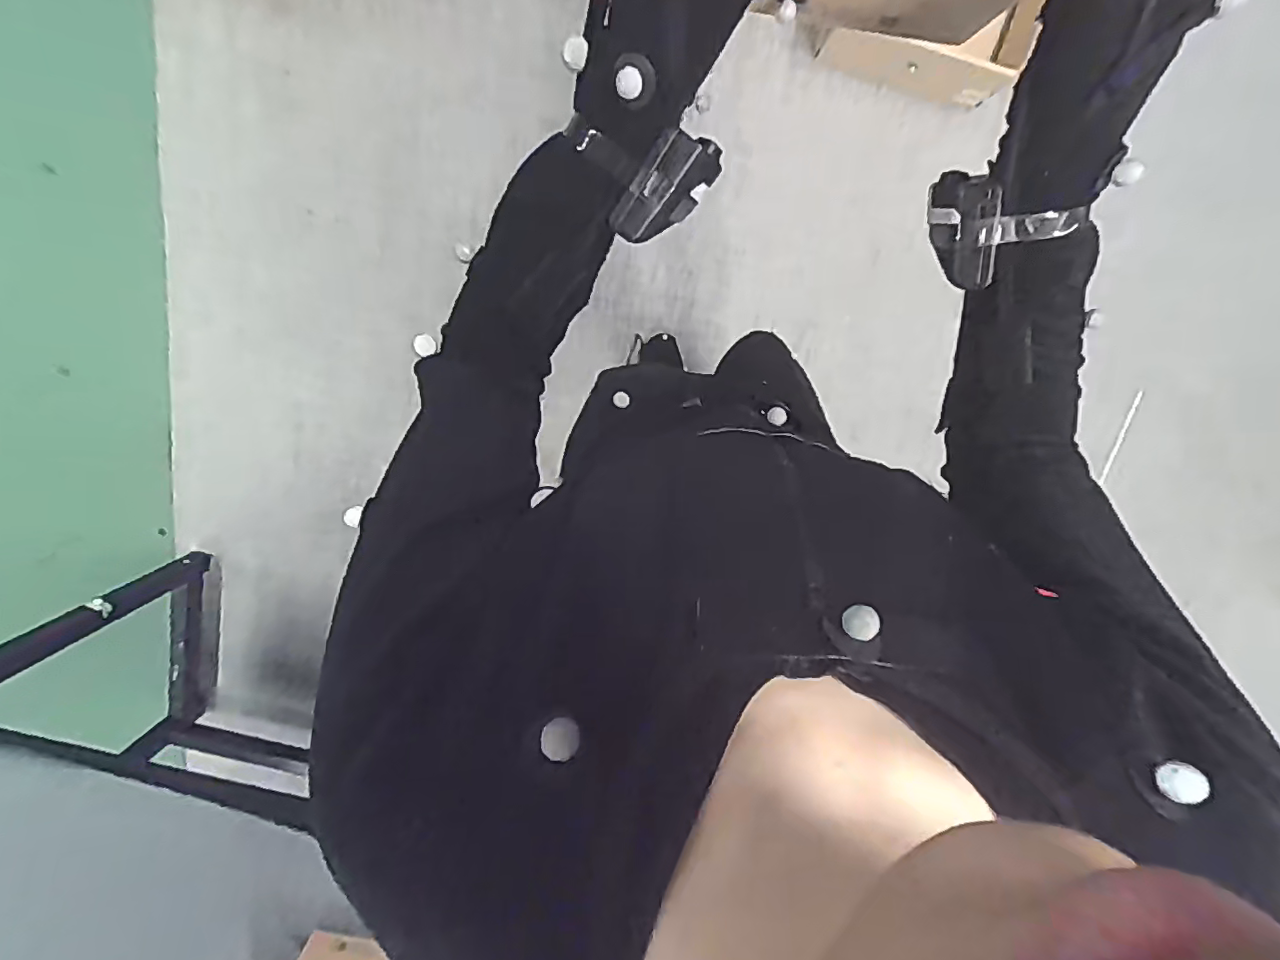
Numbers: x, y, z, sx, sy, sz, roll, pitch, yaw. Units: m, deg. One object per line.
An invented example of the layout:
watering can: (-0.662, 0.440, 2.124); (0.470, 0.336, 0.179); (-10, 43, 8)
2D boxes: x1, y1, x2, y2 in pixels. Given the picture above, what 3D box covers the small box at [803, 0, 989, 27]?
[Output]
small box: (0.156, -0.378, 0.276); (0.168, 0.176, 0.179); (8, 108, -1)
